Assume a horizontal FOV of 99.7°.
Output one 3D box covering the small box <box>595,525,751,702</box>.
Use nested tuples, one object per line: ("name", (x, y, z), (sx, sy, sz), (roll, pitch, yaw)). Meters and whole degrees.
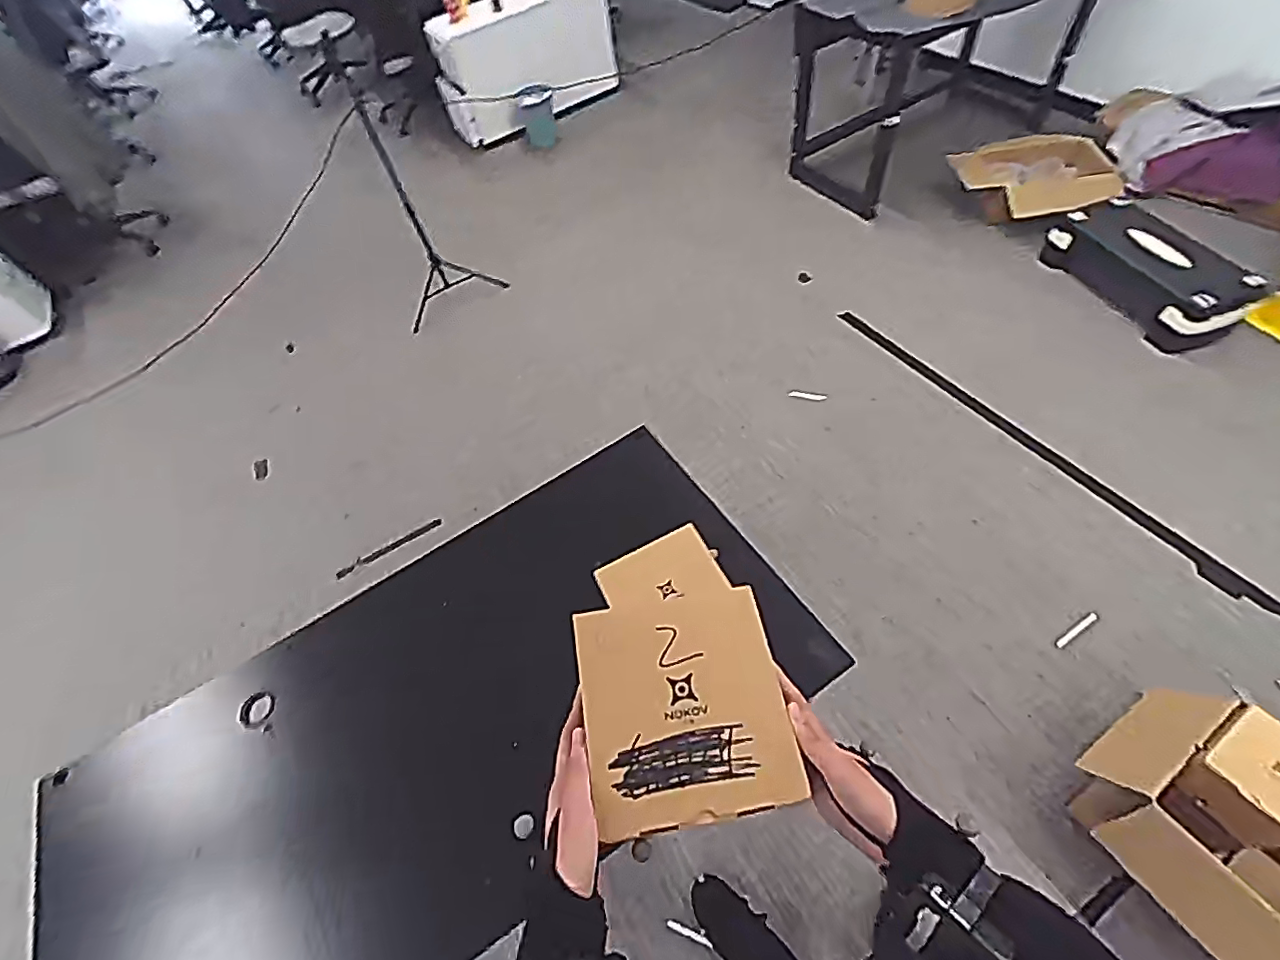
("small box", (0.051, 0.206, 0.817), (0.168, 0.176, 0.179), (-26, 56, -7))
